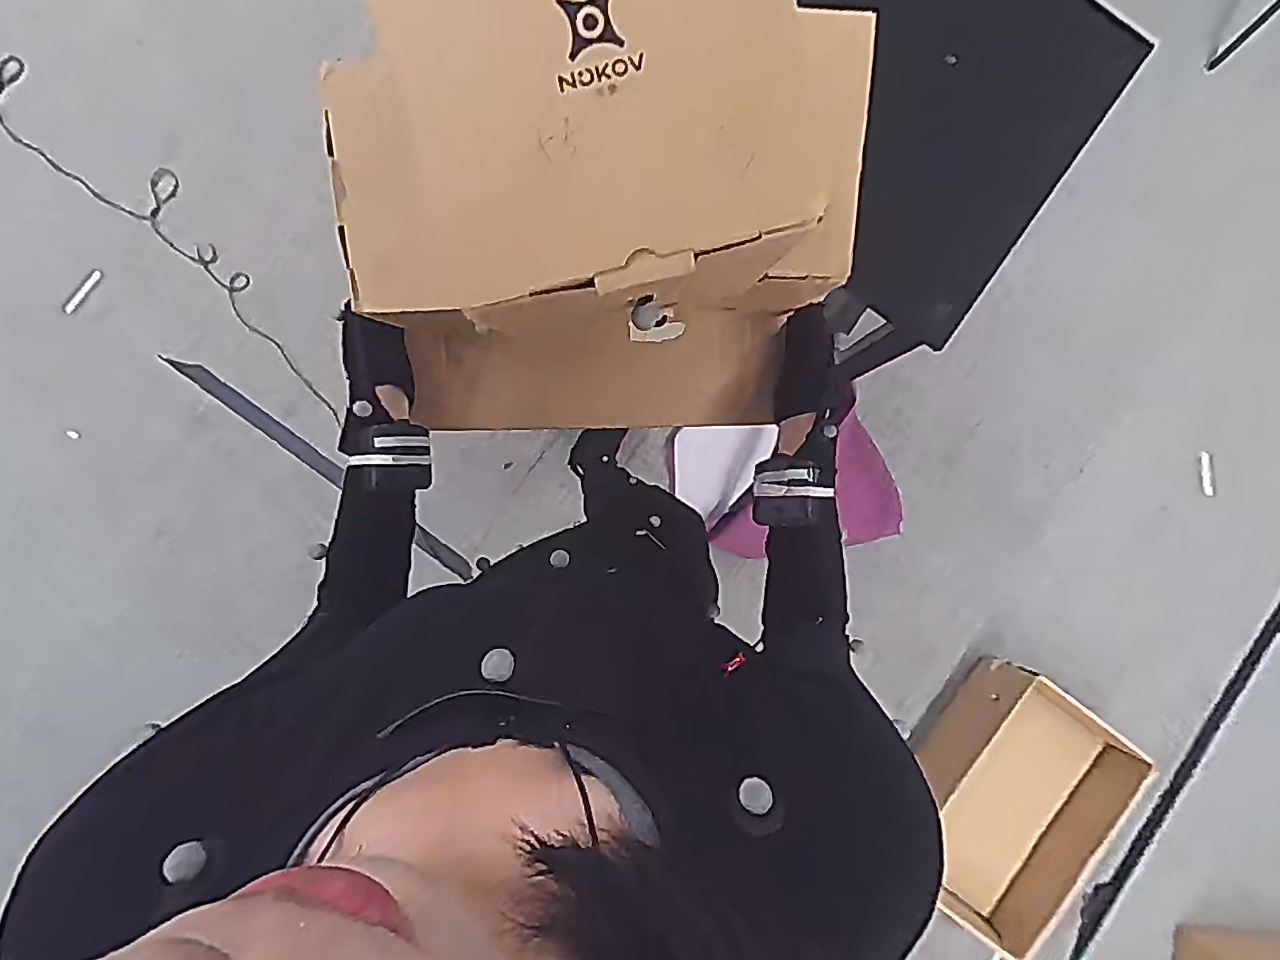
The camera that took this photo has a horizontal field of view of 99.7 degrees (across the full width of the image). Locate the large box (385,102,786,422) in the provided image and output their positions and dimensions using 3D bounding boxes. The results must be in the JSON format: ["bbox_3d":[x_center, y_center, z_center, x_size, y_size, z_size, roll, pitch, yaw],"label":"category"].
[{"bbox_3d":[-0.053,-0.244,0.700,0.408,0.320,0.320,-2,100,-2],"label":"large box"}]

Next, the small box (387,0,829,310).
[{"bbox_3d":[-0.017,-0.199,0.296,0.168,0.176,0.179,-13,100,1],"label":"small box"}]

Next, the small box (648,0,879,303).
[{"bbox_3d":[0.074,-0.254,0.455,0.168,0.176,0.179,3,97,-2],"label":"small box"}]
